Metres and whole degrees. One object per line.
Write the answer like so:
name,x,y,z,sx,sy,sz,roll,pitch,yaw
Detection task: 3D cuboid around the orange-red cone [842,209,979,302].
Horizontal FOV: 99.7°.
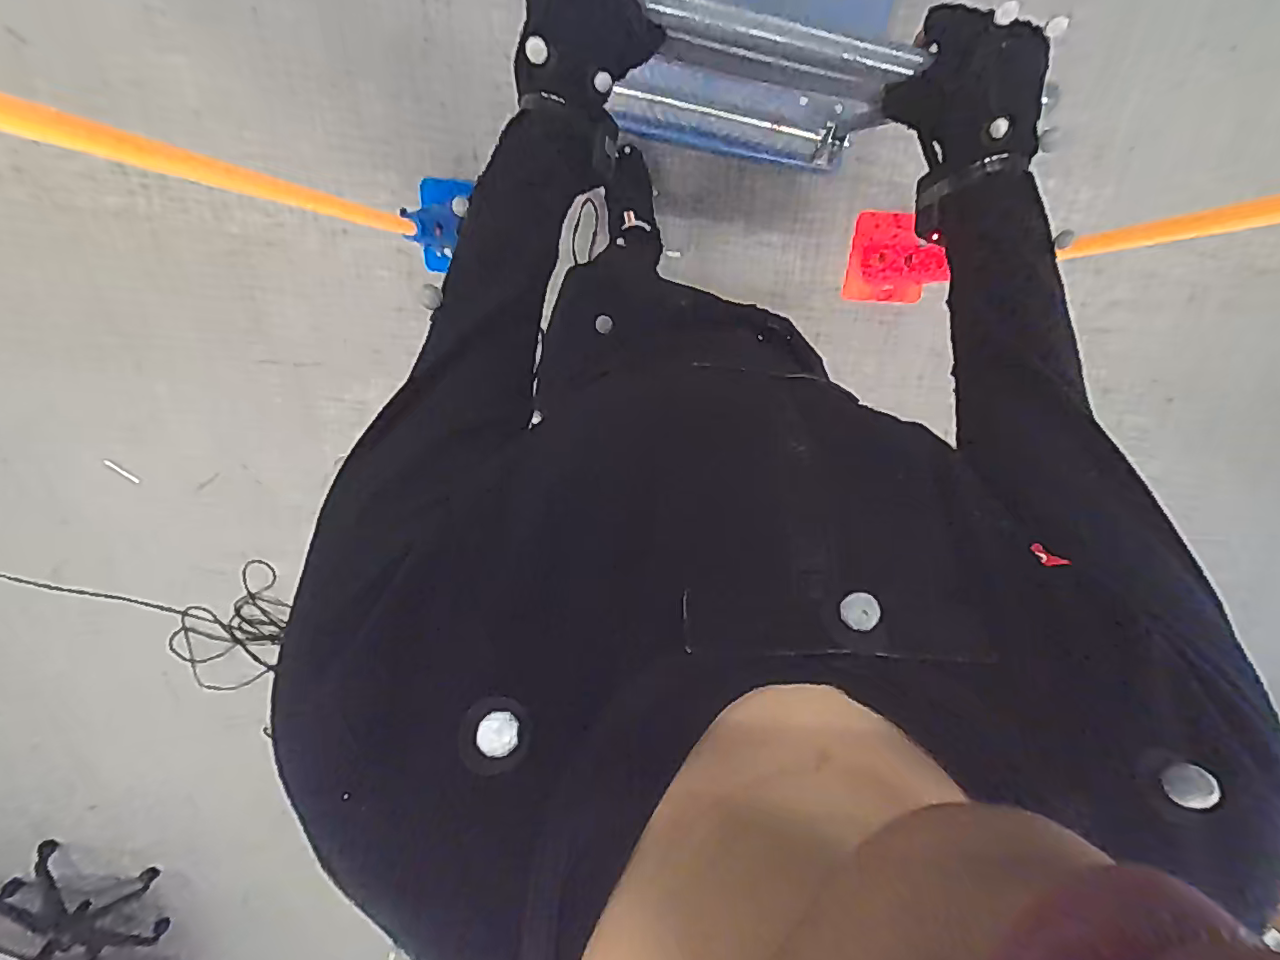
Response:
orange-red cone,0.602,-0.472,1.153,0.199,0.360,0.198,5,113,-2
